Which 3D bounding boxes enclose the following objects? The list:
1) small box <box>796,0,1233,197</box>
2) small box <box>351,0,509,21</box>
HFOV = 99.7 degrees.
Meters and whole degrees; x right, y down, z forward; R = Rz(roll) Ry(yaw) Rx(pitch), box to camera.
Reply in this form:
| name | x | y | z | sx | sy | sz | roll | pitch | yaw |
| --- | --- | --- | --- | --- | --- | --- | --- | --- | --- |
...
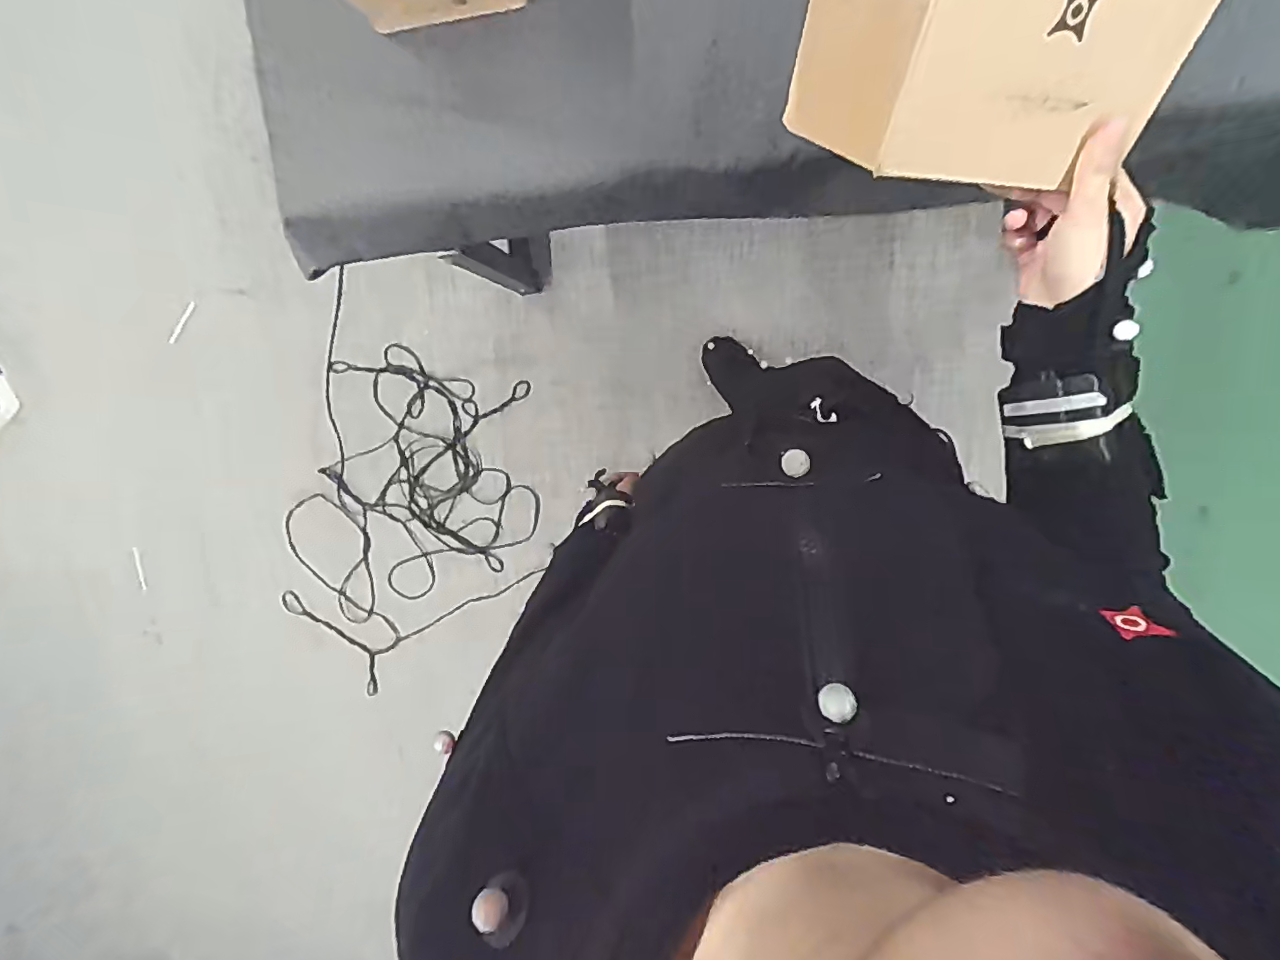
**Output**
| name | x | y | z | sx | sy | sz | roll | pitch | yaw |
| --- | --- | --- | --- | --- | --- | --- | --- | --- | --- |
| small box | 0.218 | -0.298 | 0.335 | 0.168 | 0.176 | 0.179 | -1 | 132 | -10 |
| small box | -0.216 | -0.541 | 0.462 | 0.168 | 0.176 | 0.179 | -4 | 98 | 8 |
